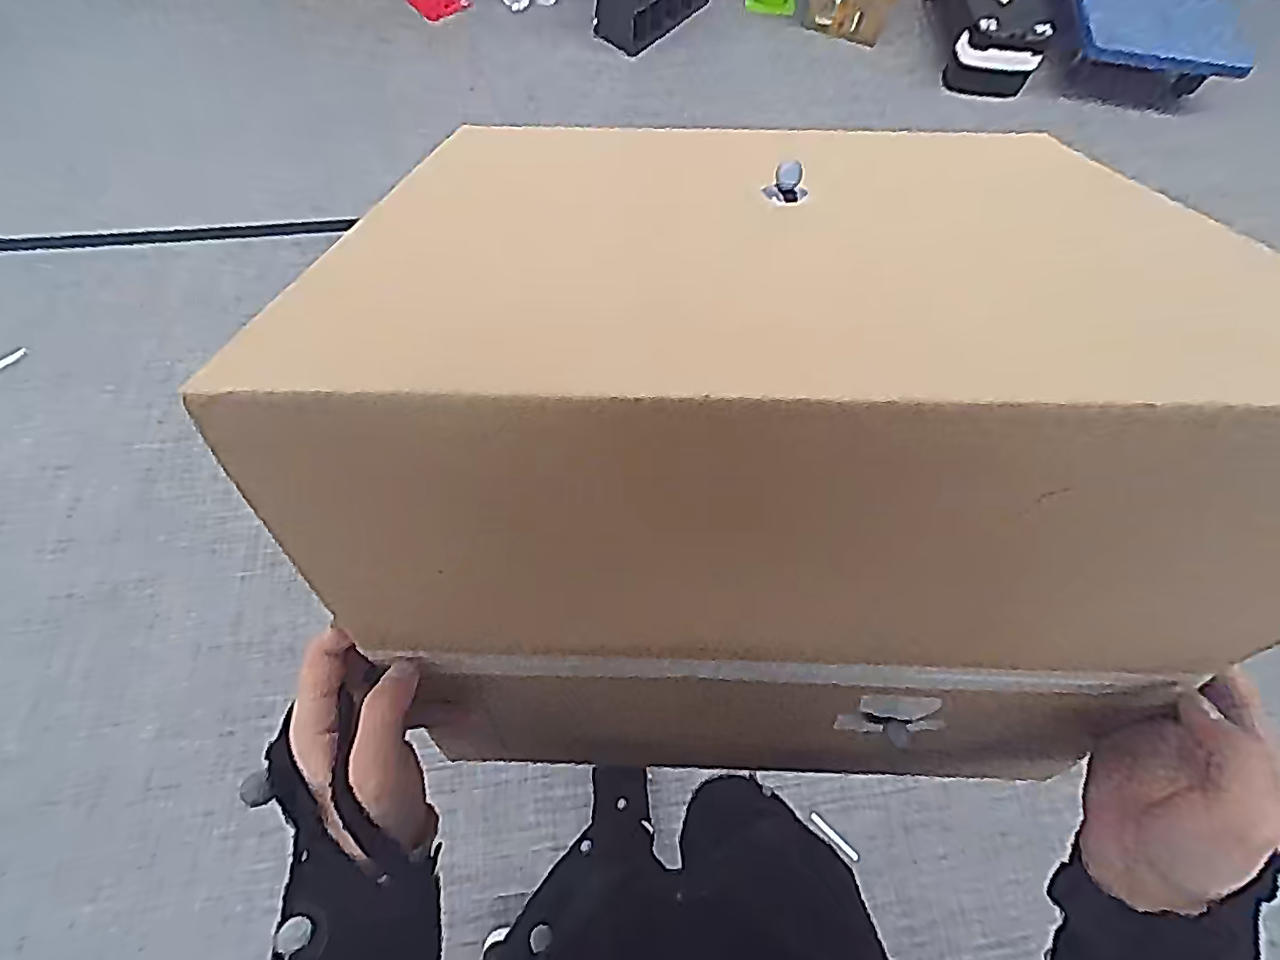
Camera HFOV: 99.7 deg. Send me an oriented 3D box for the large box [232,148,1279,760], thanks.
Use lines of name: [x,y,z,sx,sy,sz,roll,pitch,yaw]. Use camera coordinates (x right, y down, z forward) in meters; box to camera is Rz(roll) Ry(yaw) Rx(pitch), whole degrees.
large box: [0.066,-0.019,0.379,0.408,0.320,0.320,0,46,1]
